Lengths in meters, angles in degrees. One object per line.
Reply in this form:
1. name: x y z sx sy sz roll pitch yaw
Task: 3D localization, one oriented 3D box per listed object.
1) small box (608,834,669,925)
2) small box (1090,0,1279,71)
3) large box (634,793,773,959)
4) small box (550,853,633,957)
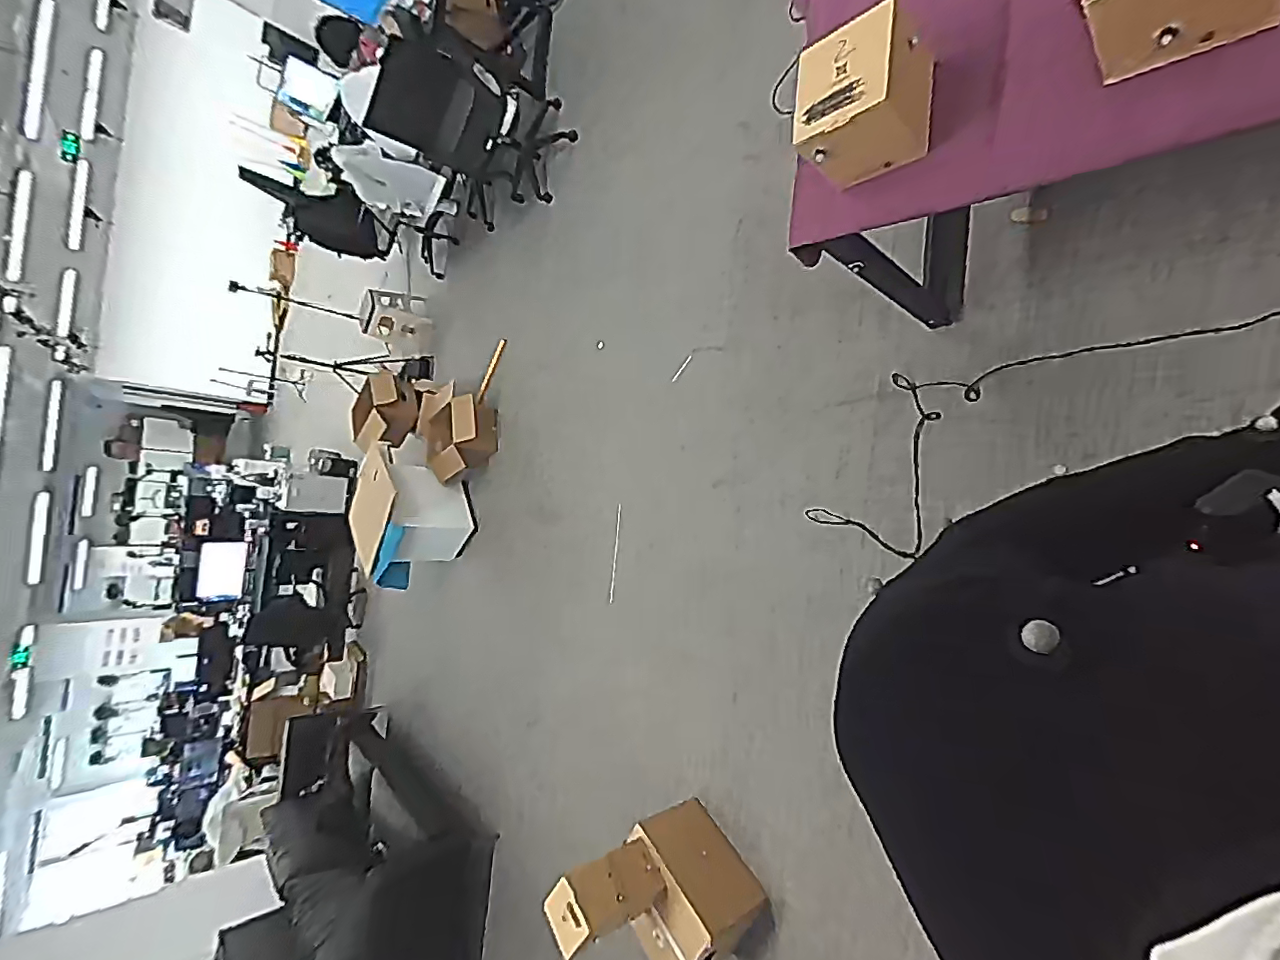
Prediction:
1. small box: -0.033 1.330 1.801 0.168 0.176 0.179 45 116 39
2. small box: 0.657 -0.654 0.646 0.168 0.176 0.179 6 90 47
3. large box: 0.183 1.425 1.920 0.408 0.320 0.320 38 113 42
4. small box: -0.146 1.313 1.685 0.168 0.176 0.179 46 118 39
